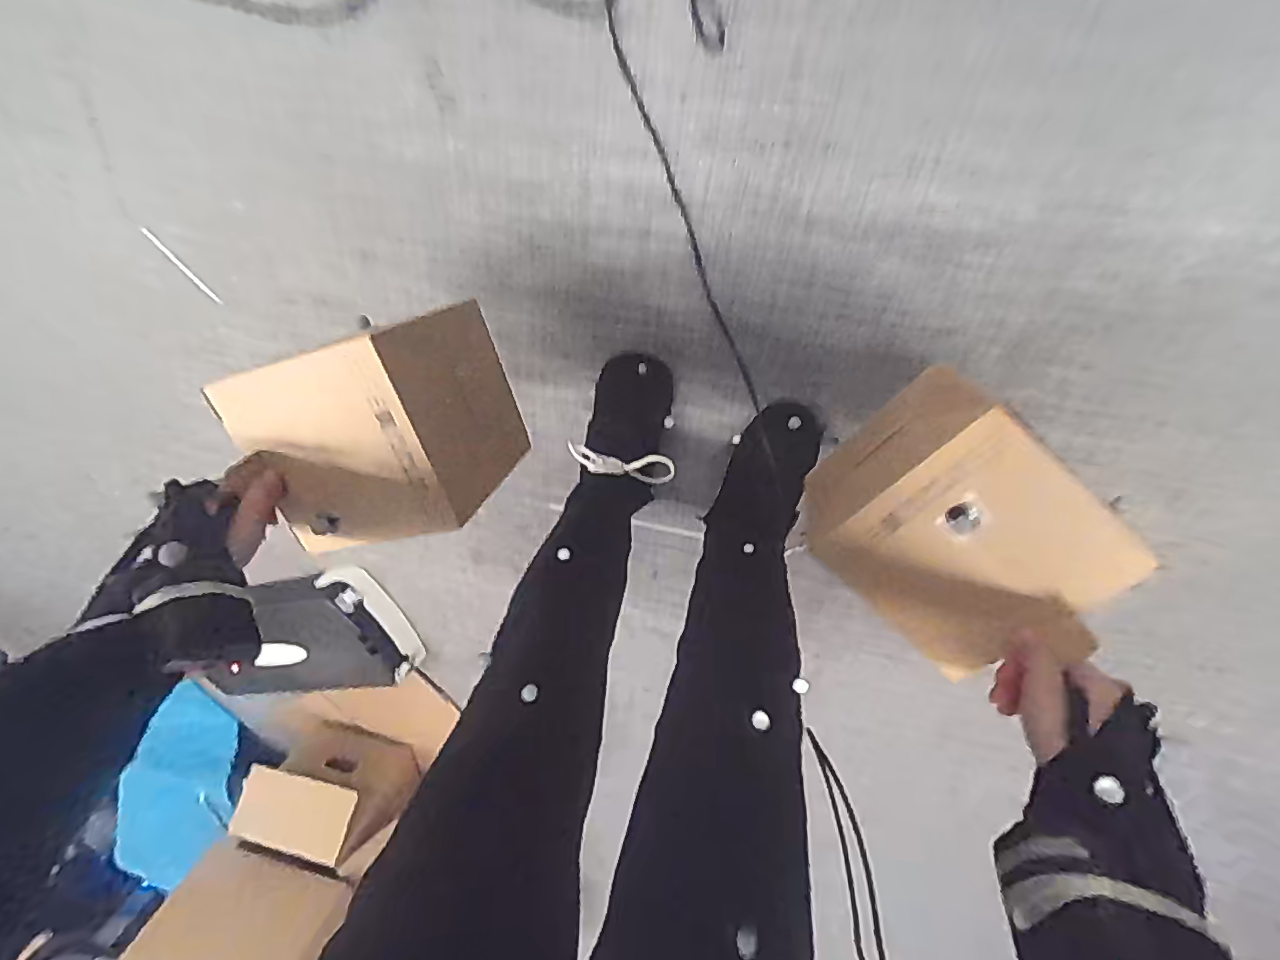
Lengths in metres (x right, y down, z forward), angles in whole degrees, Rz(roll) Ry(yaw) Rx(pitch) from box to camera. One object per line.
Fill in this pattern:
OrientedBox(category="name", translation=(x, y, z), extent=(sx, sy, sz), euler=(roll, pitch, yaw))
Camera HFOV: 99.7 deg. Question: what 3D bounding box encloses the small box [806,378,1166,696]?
OrientedBox(category="small box", translation=(0.261, 0.034, 0.462), extent=(0.176, 0.179, 0.168), euler=(42, 116, -4))
